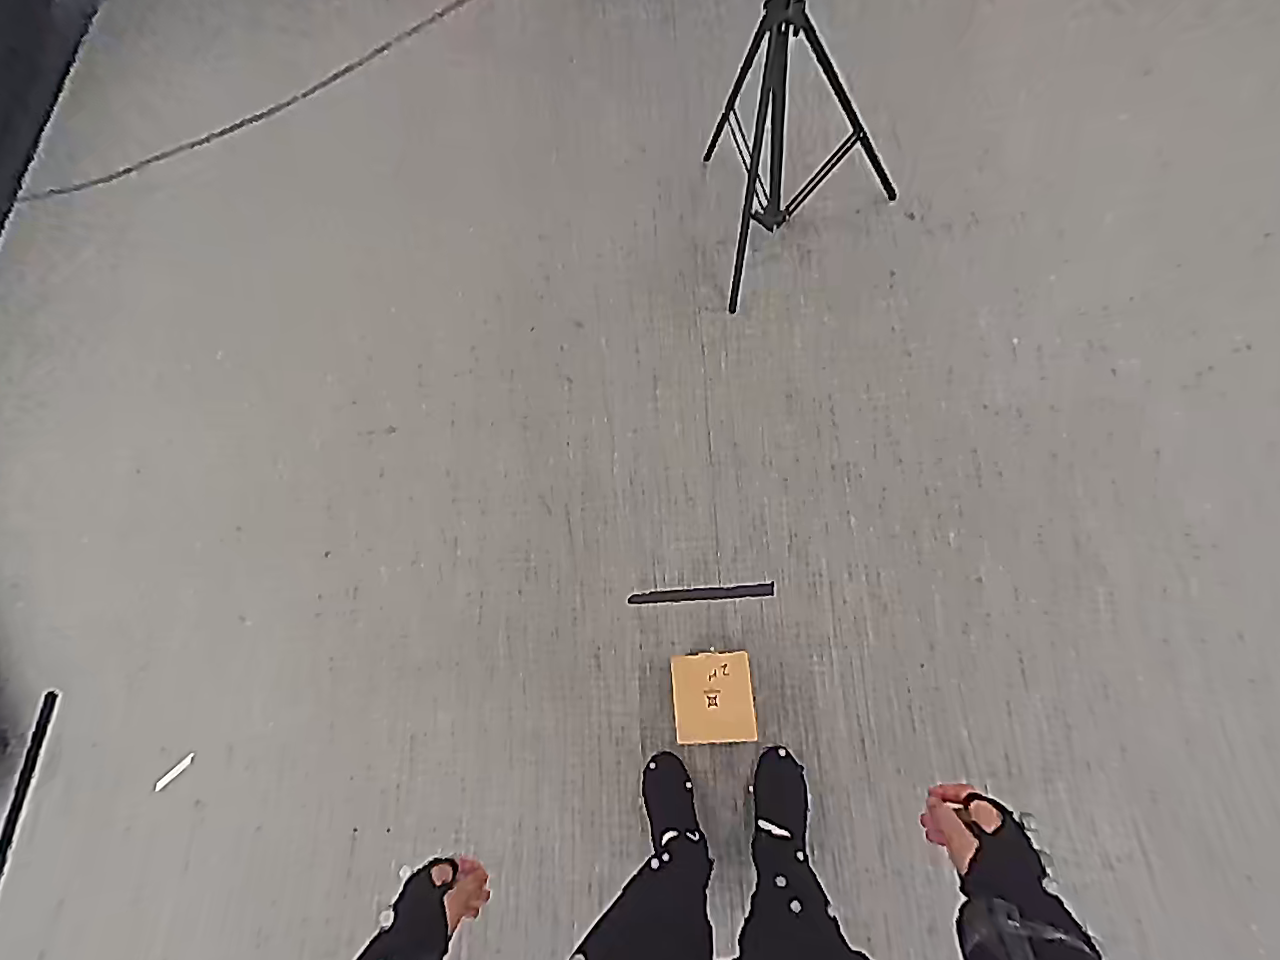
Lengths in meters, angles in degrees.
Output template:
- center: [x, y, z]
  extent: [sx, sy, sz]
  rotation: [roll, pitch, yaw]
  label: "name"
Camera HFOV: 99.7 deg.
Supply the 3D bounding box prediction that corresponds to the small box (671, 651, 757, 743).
- center: [0.167, 0.472, 1.192]
  extent: [0.168, 0.176, 0.179]
  rotation: [-7, 70, 10]
  label: "small box"
